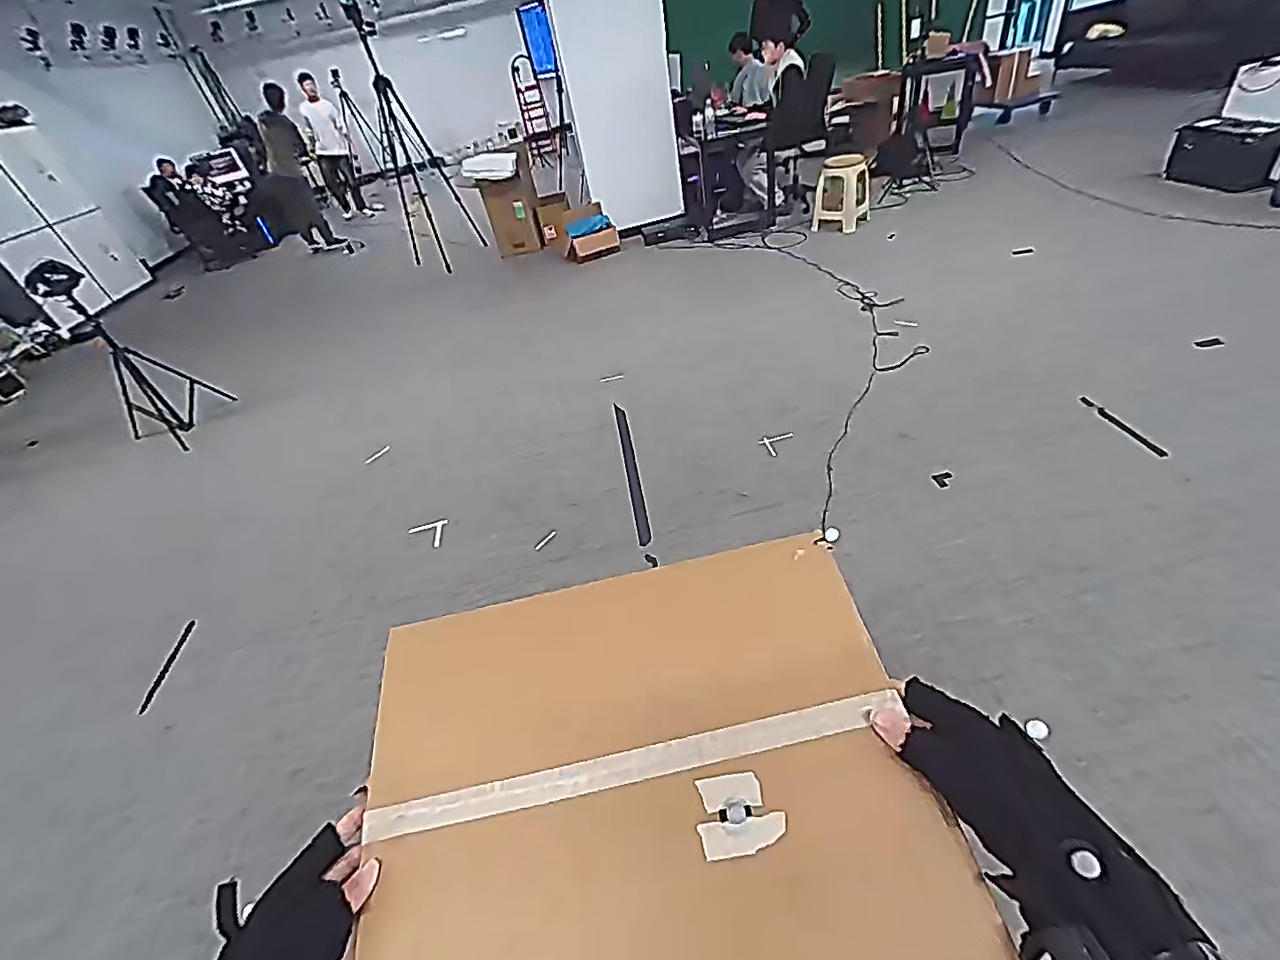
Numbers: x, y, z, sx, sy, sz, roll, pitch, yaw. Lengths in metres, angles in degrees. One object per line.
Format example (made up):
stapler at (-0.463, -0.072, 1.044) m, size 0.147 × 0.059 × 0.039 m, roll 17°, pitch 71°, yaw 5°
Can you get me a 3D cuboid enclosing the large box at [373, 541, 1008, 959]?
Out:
large box at (0.020, 0.310, 0.524) m, size 0.408 × 0.320 × 0.320 m, roll -13°, pitch 52°, yaw 0°
